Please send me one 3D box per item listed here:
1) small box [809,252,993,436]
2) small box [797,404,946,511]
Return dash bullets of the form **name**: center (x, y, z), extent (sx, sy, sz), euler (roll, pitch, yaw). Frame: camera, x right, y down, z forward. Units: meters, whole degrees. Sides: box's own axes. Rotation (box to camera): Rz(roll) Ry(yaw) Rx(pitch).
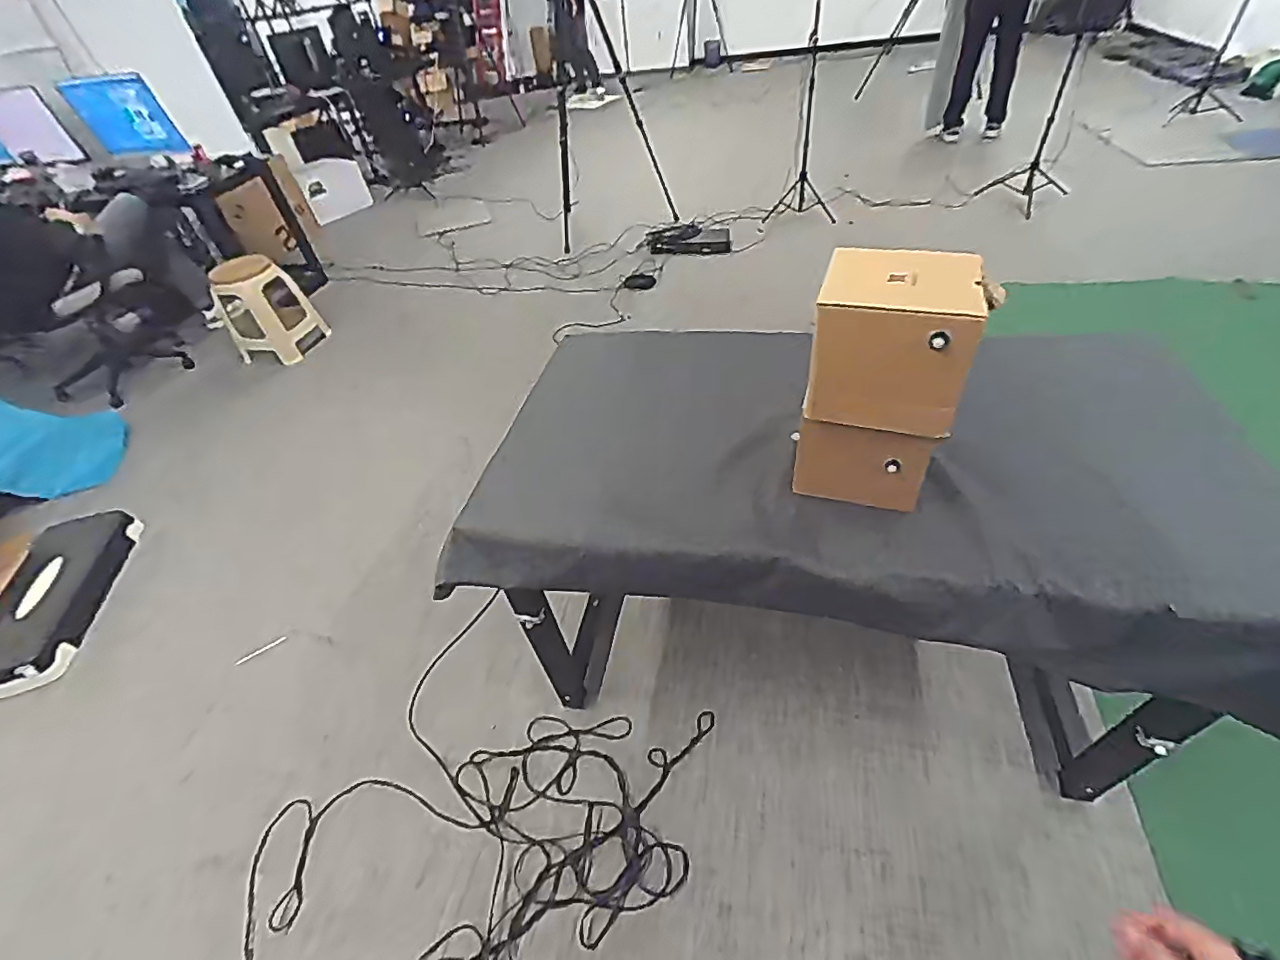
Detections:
- **small box**: center (0.323, -0.175, 0.693), extent (0.179, 0.176, 0.168), euler (12, 46, 19)
- **small box**: center (0.345, -0.073, 0.819), extent (0.179, 0.176, 0.168), euler (10, 46, 19)
